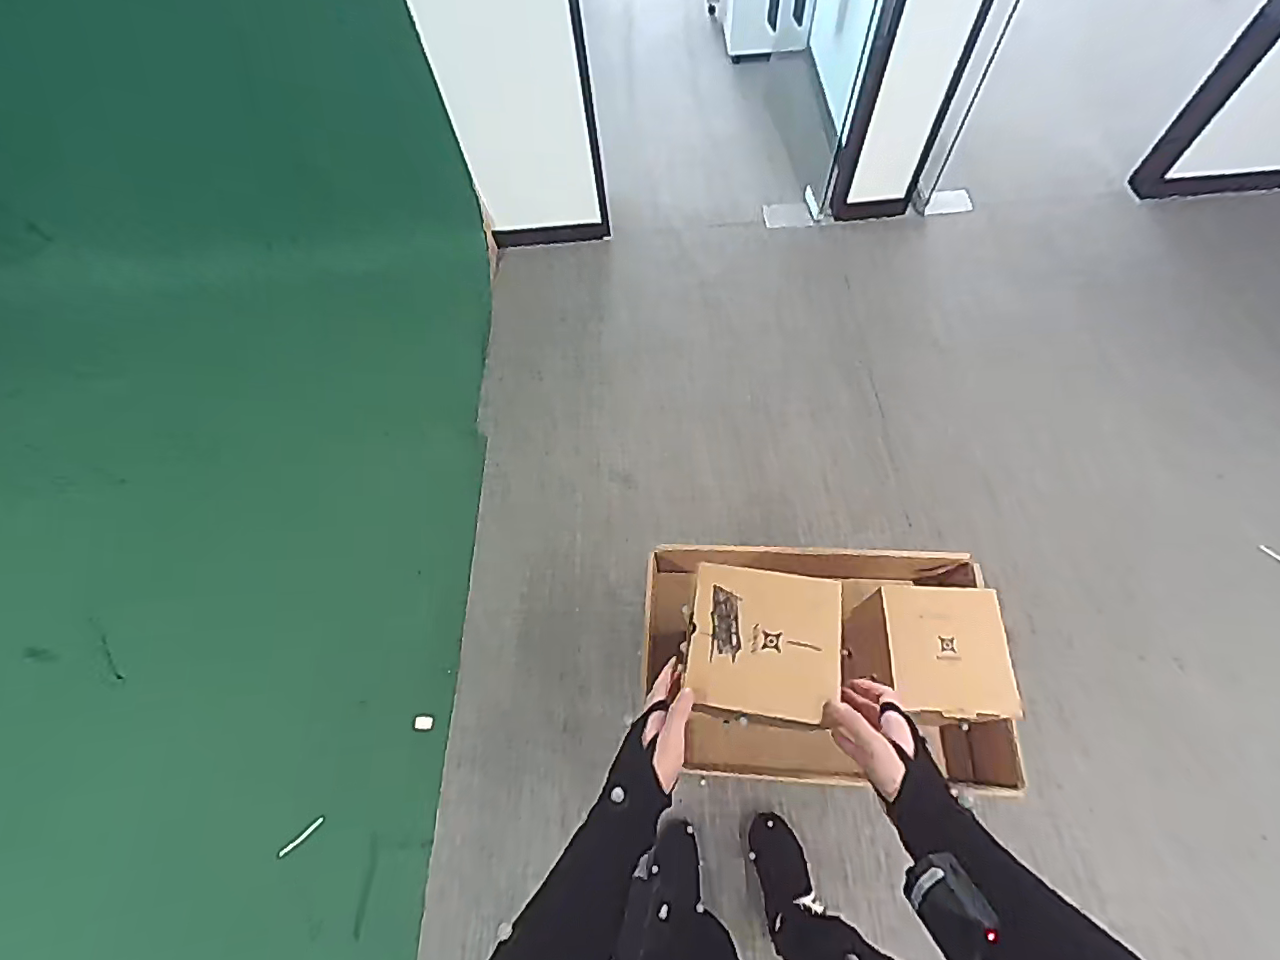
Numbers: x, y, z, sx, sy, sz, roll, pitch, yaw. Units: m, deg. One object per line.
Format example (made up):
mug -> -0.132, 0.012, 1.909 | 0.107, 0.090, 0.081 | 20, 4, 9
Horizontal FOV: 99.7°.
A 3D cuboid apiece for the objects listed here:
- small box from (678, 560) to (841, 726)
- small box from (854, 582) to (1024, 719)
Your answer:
small box -> 0.148, 0.216, 0.699 | 0.179, 0.176, 0.168 | 7, 66, 8
small box -> 0.441, 0.266, 0.830 | 0.168, 0.176, 0.179 | 2, 64, 5
